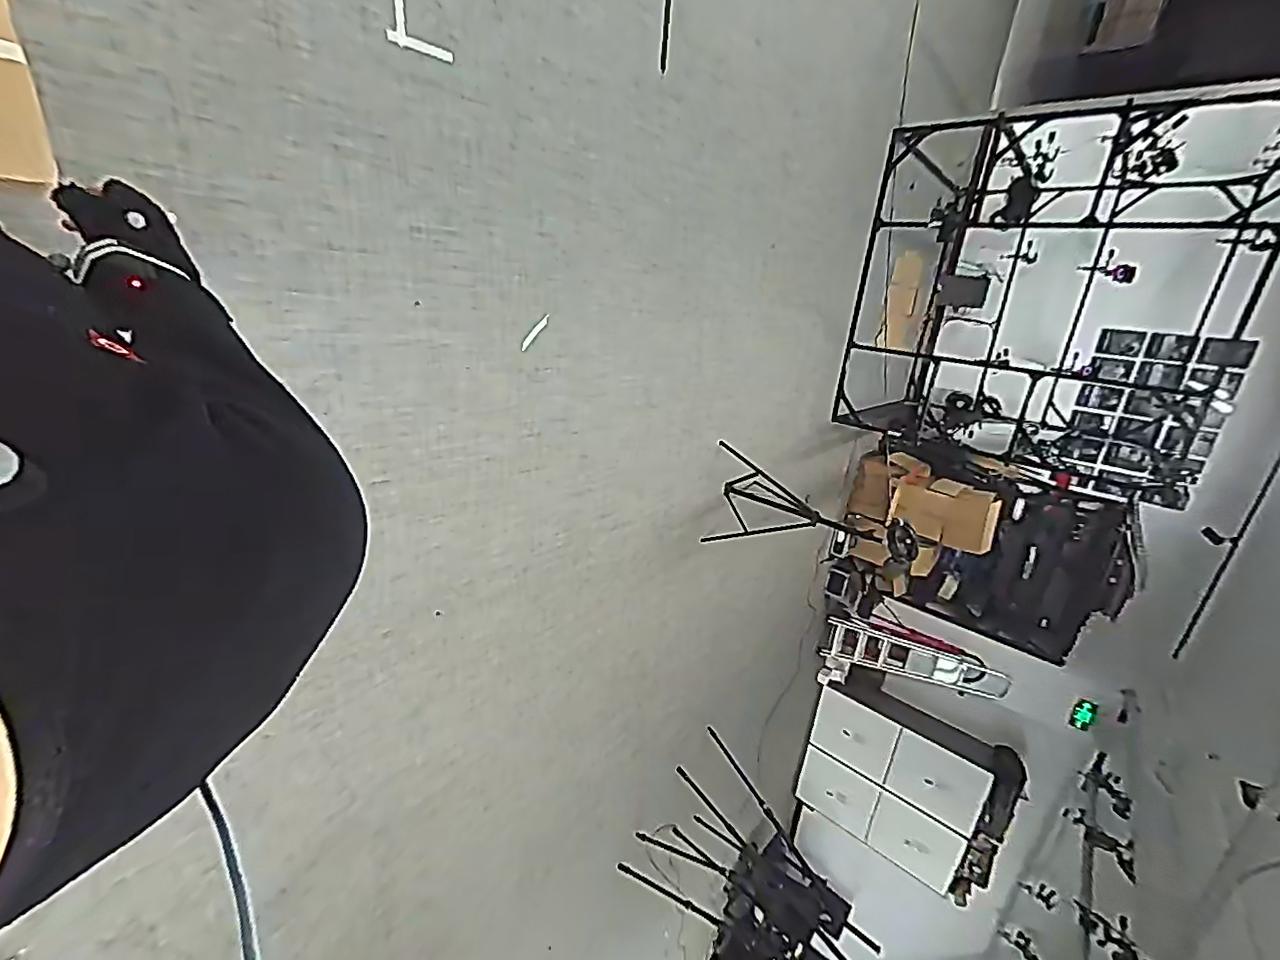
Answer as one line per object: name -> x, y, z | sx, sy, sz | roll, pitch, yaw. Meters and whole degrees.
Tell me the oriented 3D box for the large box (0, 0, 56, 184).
large box -> -1.075, -0.572, 0.668 | 0.408, 0.320, 0.320 | -21, 122, -47
